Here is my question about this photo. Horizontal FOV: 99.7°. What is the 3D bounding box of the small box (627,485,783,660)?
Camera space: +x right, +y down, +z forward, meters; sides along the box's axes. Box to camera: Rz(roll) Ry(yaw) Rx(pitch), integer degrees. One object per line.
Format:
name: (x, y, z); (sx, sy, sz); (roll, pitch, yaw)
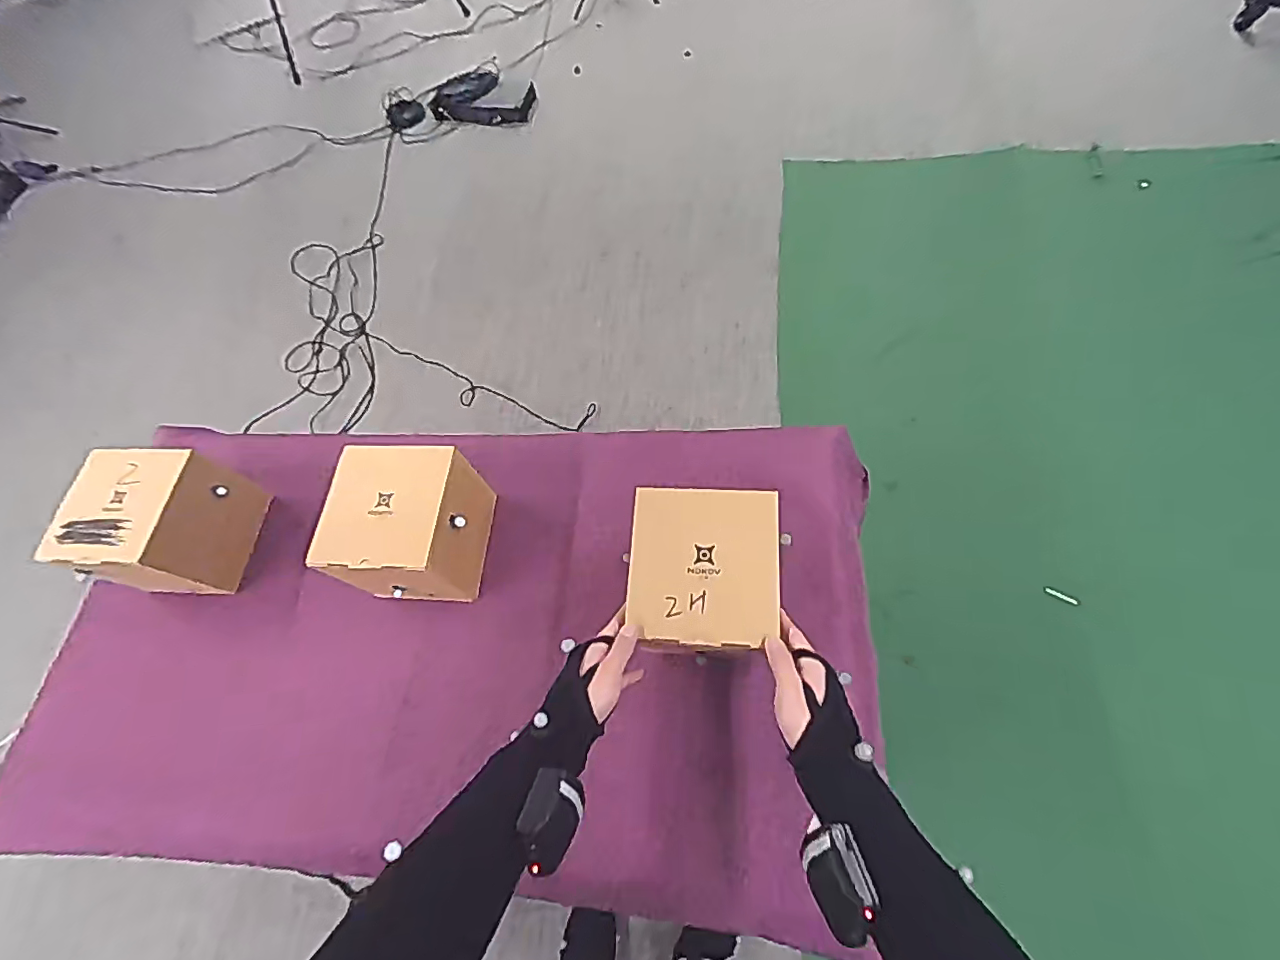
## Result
small box: (0.084, 0.119, 0.671); (0.168, 0.176, 0.179); (2, 69, 9)

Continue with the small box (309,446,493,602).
small box: (-0.326, 0.067, 0.781); (0.168, 0.176, 0.179); (1, 65, 7)
